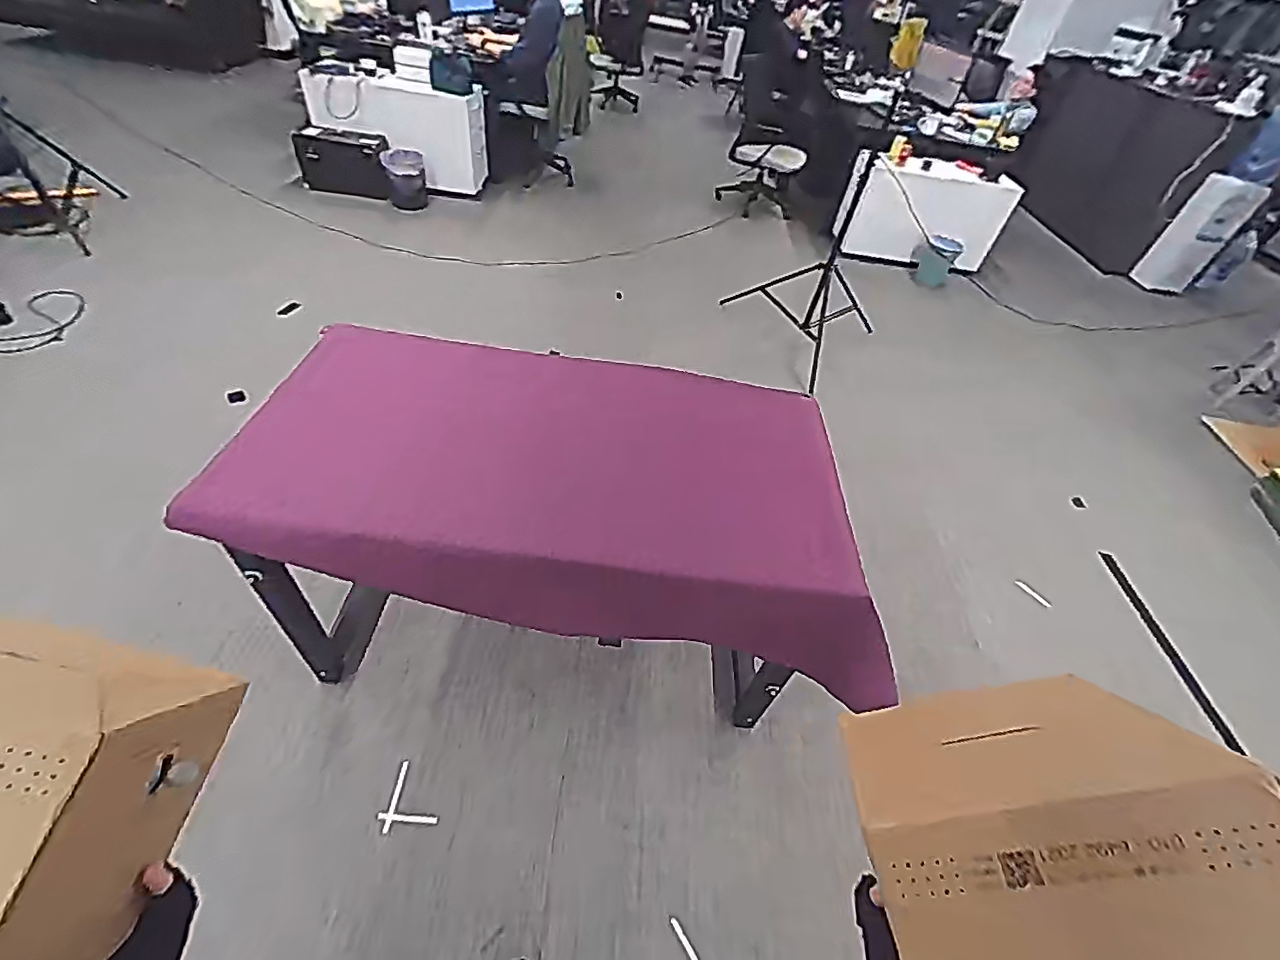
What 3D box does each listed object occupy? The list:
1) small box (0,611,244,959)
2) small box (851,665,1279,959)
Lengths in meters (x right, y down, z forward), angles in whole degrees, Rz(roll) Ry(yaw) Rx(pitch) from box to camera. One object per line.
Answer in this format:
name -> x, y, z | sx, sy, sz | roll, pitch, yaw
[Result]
small box -> -0.354, 0.166, 0.274 | 0.168, 0.179, 0.176 | 21, 71, -11
small box -> 0.227, 0.217, 0.298 | 0.168, 0.179, 0.176 | -16, 80, 15
